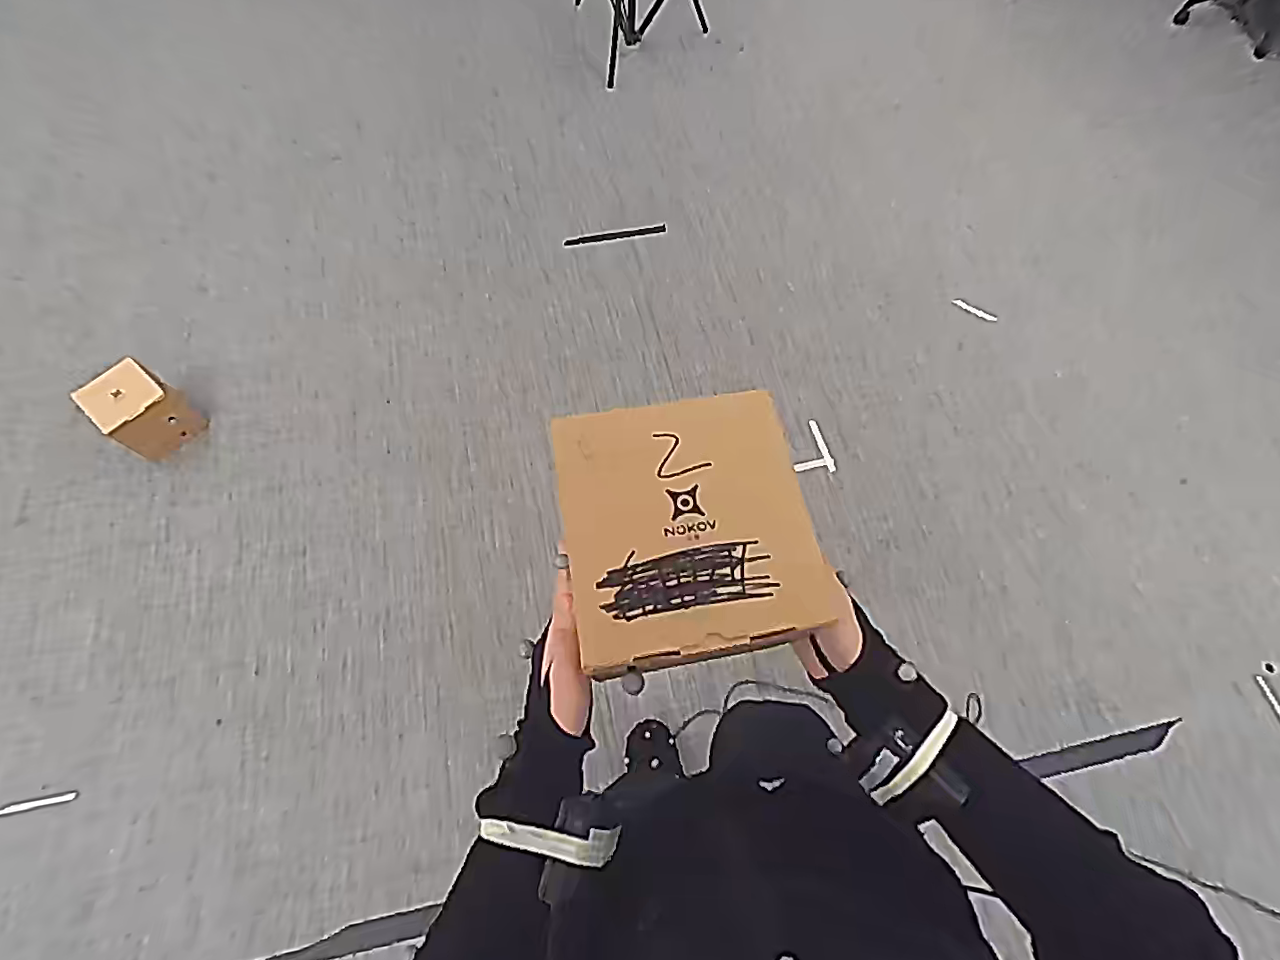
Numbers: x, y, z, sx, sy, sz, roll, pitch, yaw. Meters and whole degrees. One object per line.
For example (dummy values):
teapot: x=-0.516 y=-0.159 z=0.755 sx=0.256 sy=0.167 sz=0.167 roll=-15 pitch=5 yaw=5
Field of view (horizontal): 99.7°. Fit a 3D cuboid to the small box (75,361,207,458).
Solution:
small box: x=-1.351 y=-0.183 z=1.478 sx=0.179 sy=0.176 sz=0.168 roll=38 pitch=69 yaw=14
